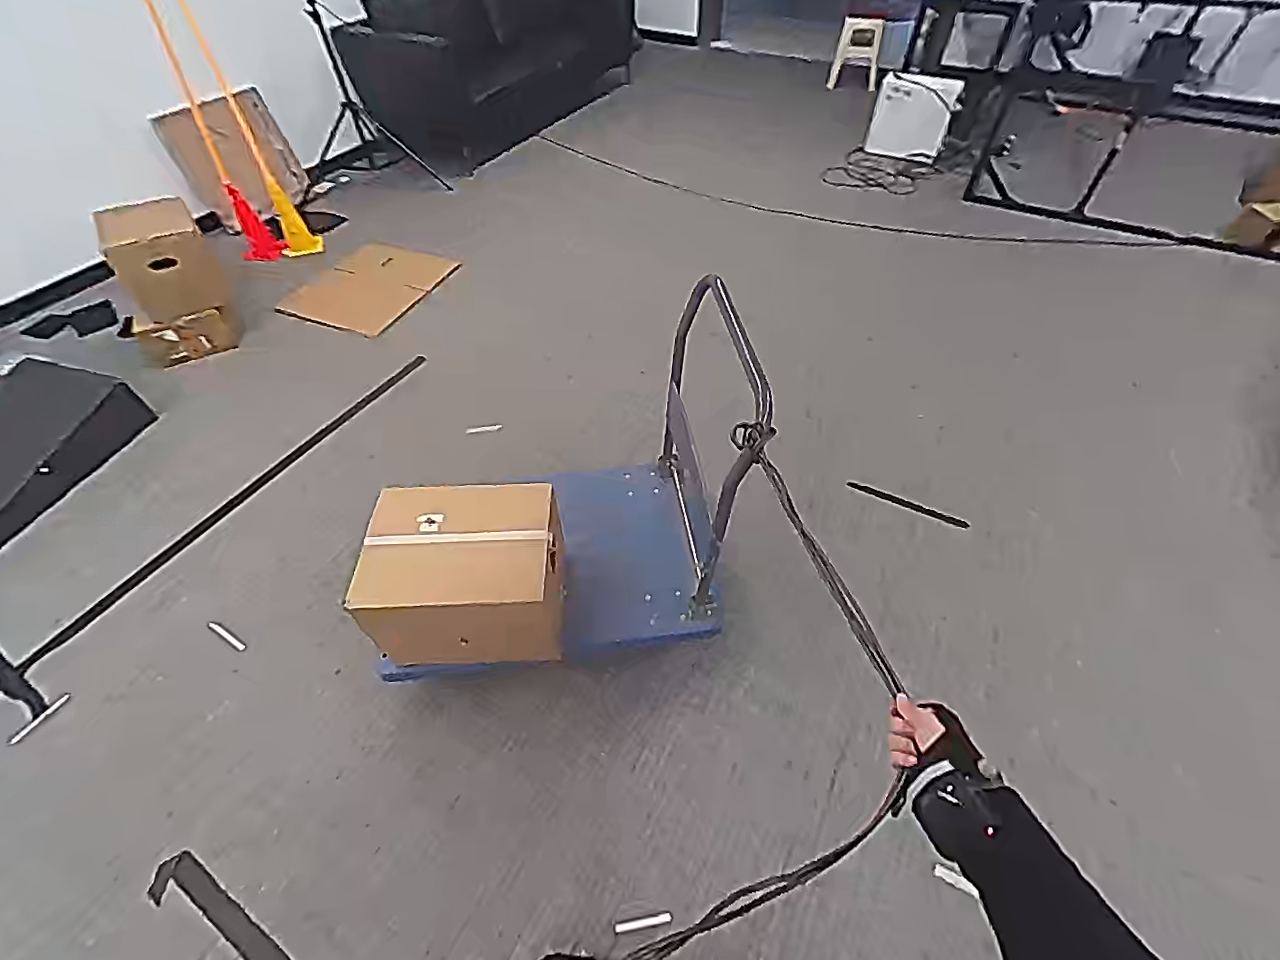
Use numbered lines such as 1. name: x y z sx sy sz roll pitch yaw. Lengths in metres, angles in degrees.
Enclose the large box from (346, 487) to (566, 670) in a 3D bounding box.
1. large box: -0.393 0.239 1.289 0.408 0.320 0.320 -3 49 -1
